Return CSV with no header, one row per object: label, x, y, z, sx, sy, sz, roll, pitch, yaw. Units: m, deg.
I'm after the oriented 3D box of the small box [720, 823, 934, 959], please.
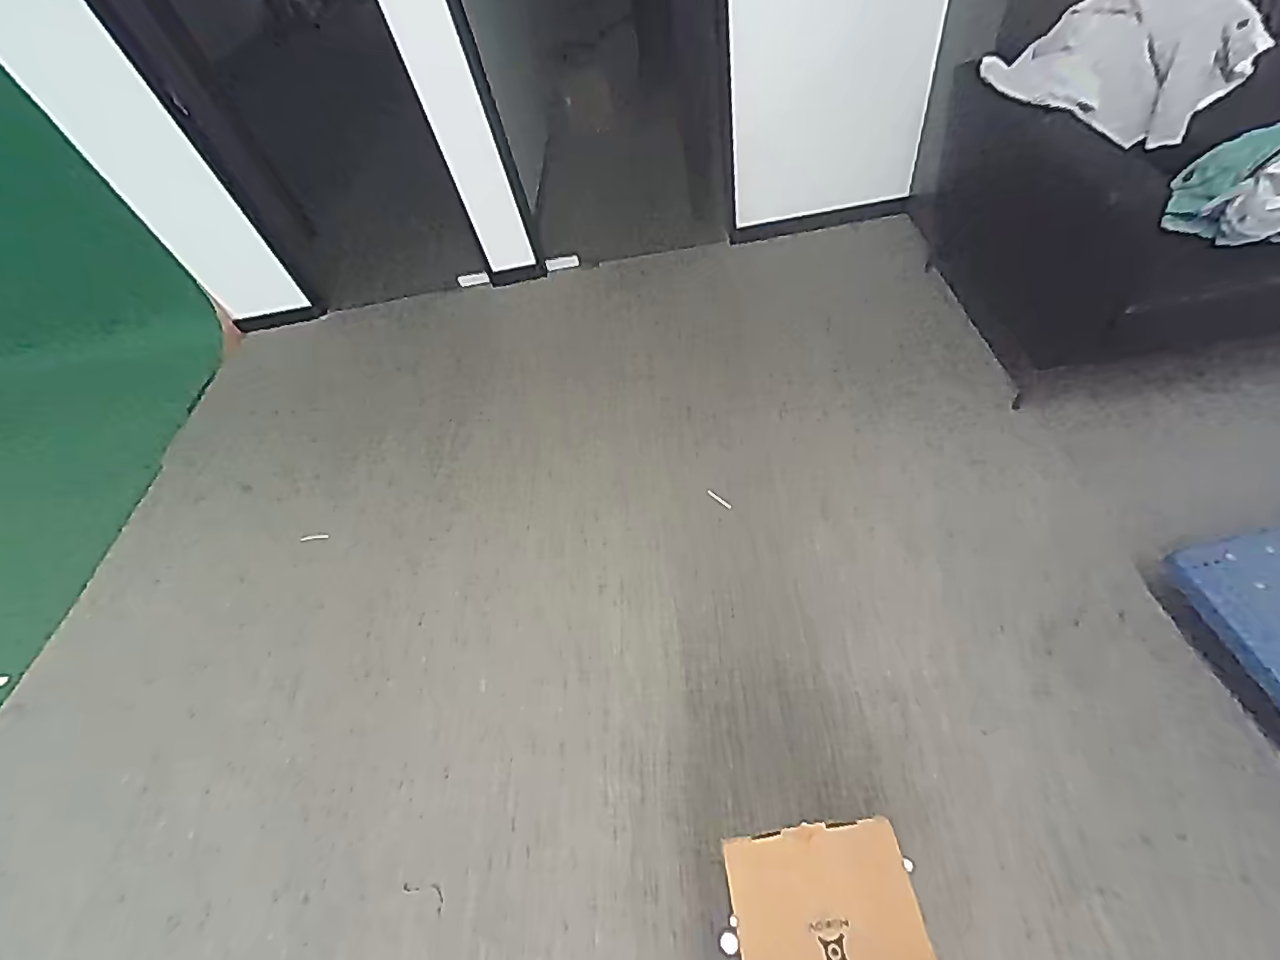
small box,0.179,0.453,0.527,0.168,0.176,0.179,-10,51,3
